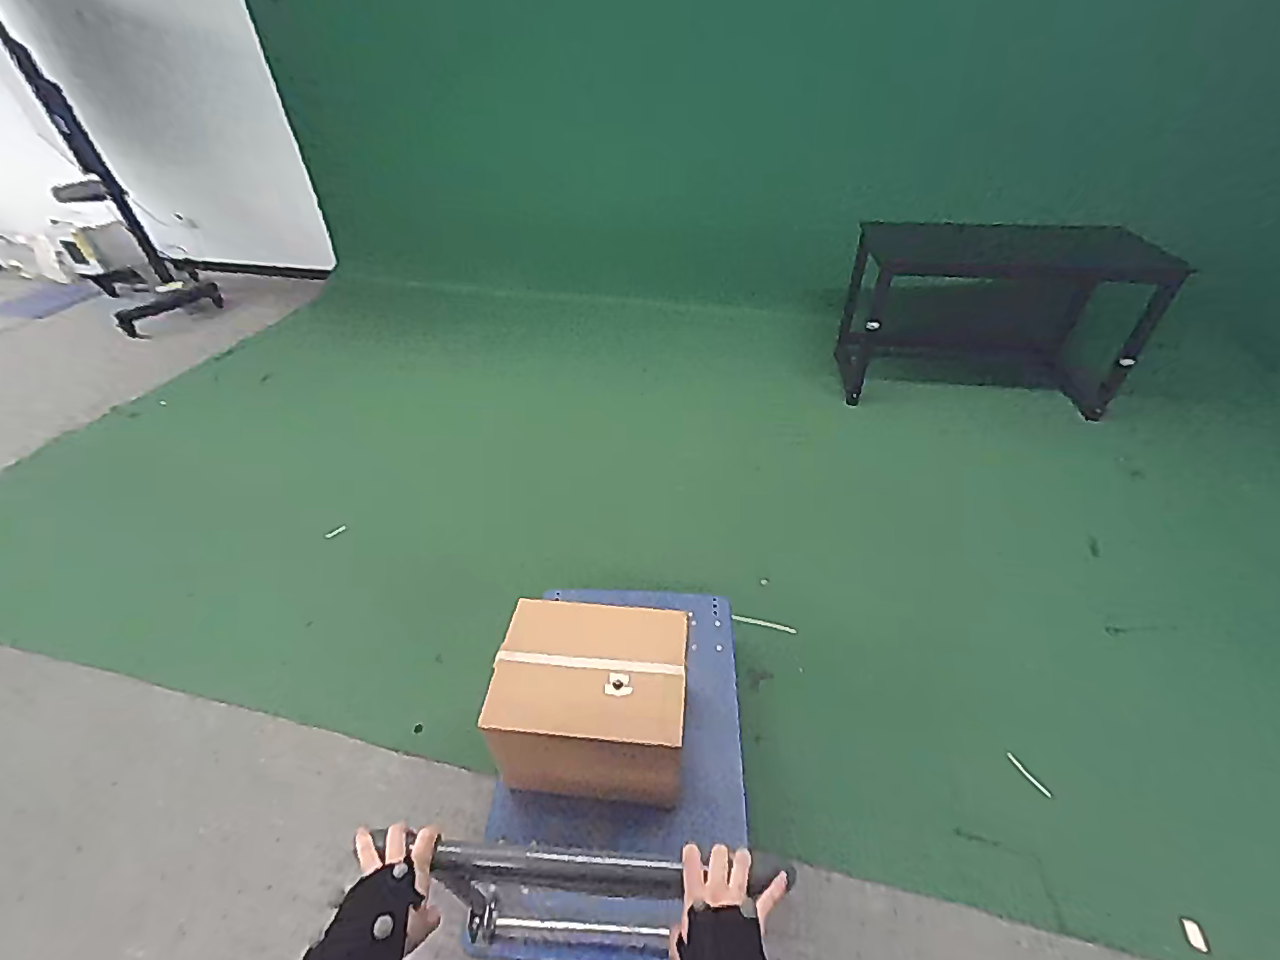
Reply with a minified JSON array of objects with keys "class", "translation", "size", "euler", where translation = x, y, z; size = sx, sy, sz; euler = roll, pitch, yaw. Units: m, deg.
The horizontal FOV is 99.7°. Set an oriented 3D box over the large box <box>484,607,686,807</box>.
[{"class":"large box","translation":[-0.104,0.527,1.267],"size":[0.408,0.320,0.320],"euler":[3,40,5]}]
